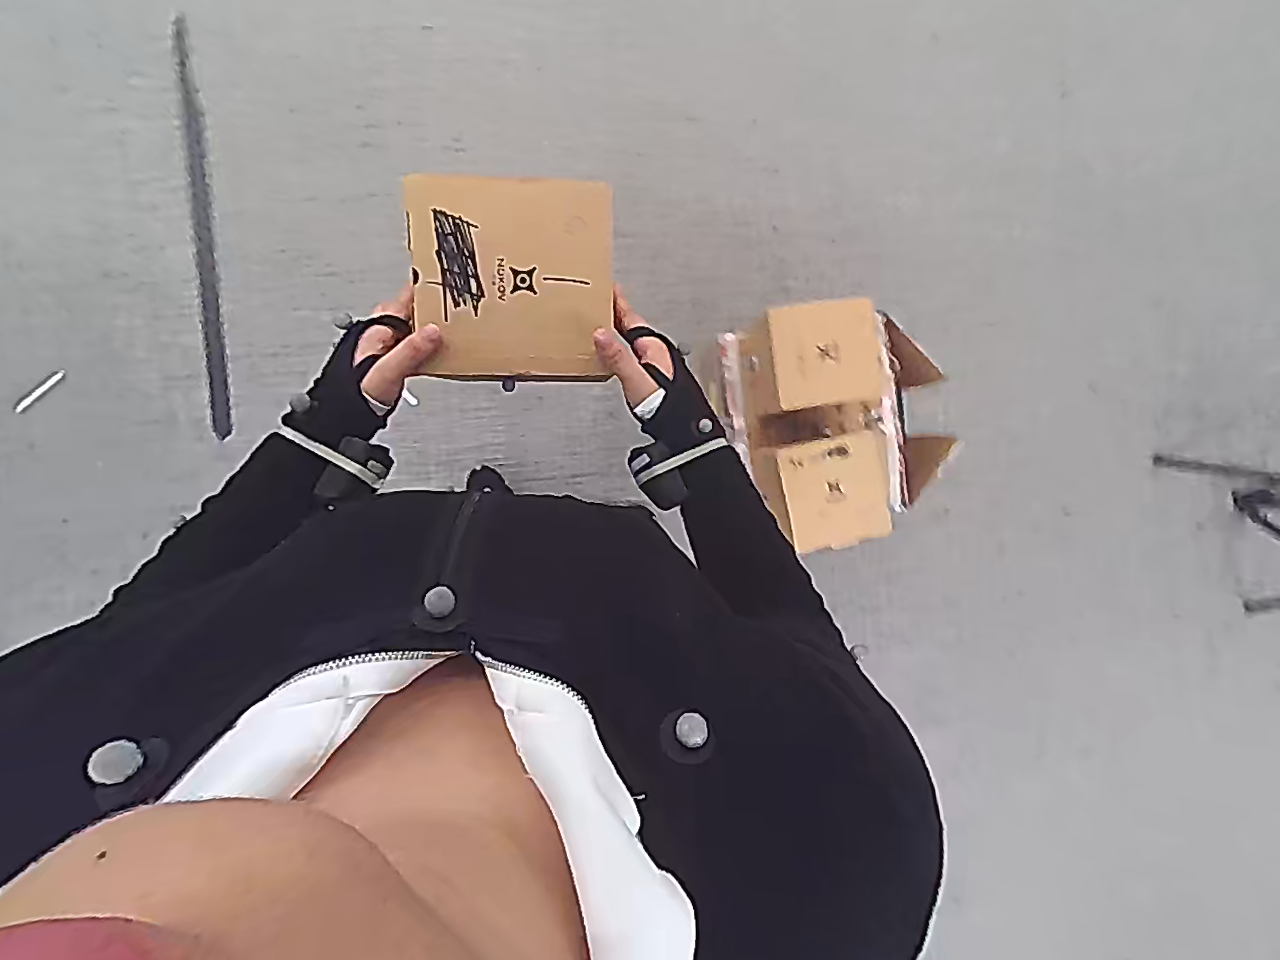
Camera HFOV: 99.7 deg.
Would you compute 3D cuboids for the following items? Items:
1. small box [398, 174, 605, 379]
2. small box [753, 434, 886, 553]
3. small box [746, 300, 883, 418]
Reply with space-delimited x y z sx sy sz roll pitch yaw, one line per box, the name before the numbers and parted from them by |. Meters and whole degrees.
small box | -0.126 -0.190 0.553 0.179 0.176 0.168 -2 99 -6
small box | 0.313 0.016 0.972 0.168 0.176 0.179 -12 94 -2
small box | 0.300 -0.206 0.960 0.179 0.176 0.168 -8 91 -1
